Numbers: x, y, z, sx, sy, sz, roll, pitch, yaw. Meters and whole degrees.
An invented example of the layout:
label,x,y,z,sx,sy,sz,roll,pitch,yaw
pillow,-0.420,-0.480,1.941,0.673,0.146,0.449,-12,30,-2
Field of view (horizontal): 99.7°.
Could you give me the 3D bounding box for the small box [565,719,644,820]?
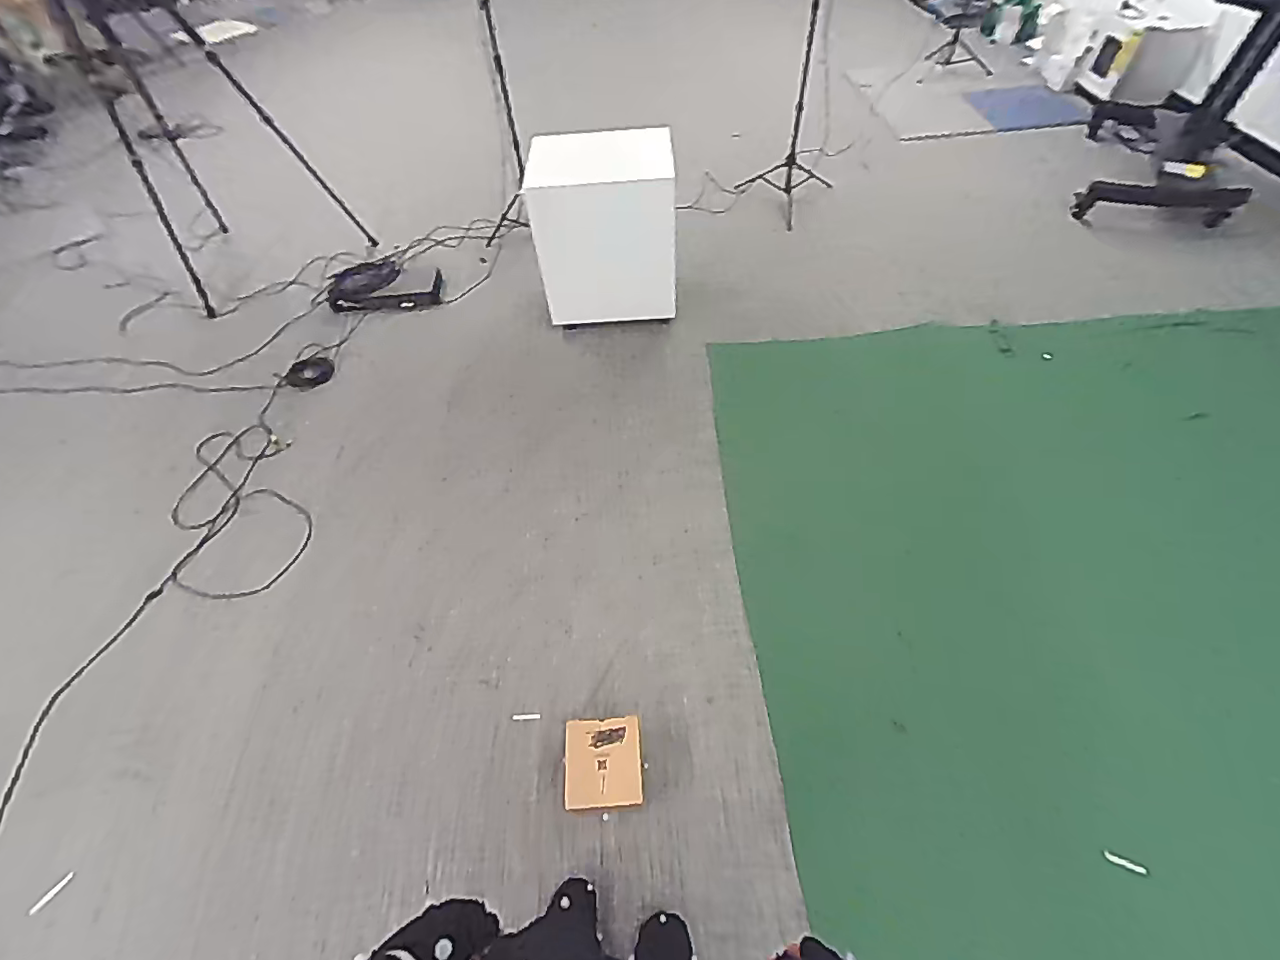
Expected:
label,x,y,z,sx,sy,sz,roll,pitch,yaw
small box,-0.078,0.661,1.230,0.168,0.176,0.179,-5,55,-1
